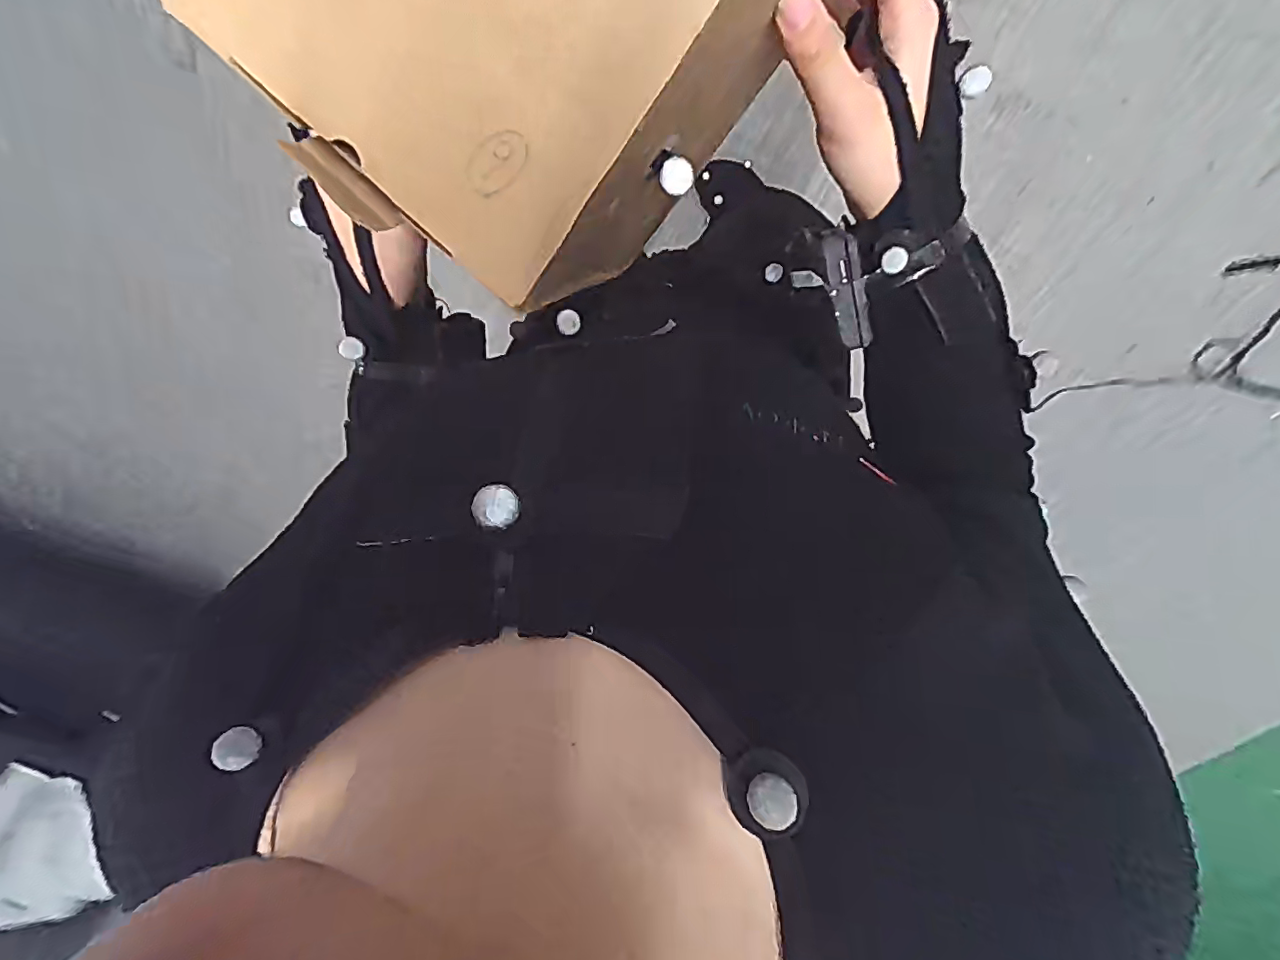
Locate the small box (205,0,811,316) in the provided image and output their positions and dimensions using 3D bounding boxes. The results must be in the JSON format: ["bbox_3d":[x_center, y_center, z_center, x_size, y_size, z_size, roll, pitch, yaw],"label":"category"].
[{"bbox_3d":[-0.035,-0.207,0.247,0.168,0.176,0.179,41,119,-8],"label":"small box"}]
